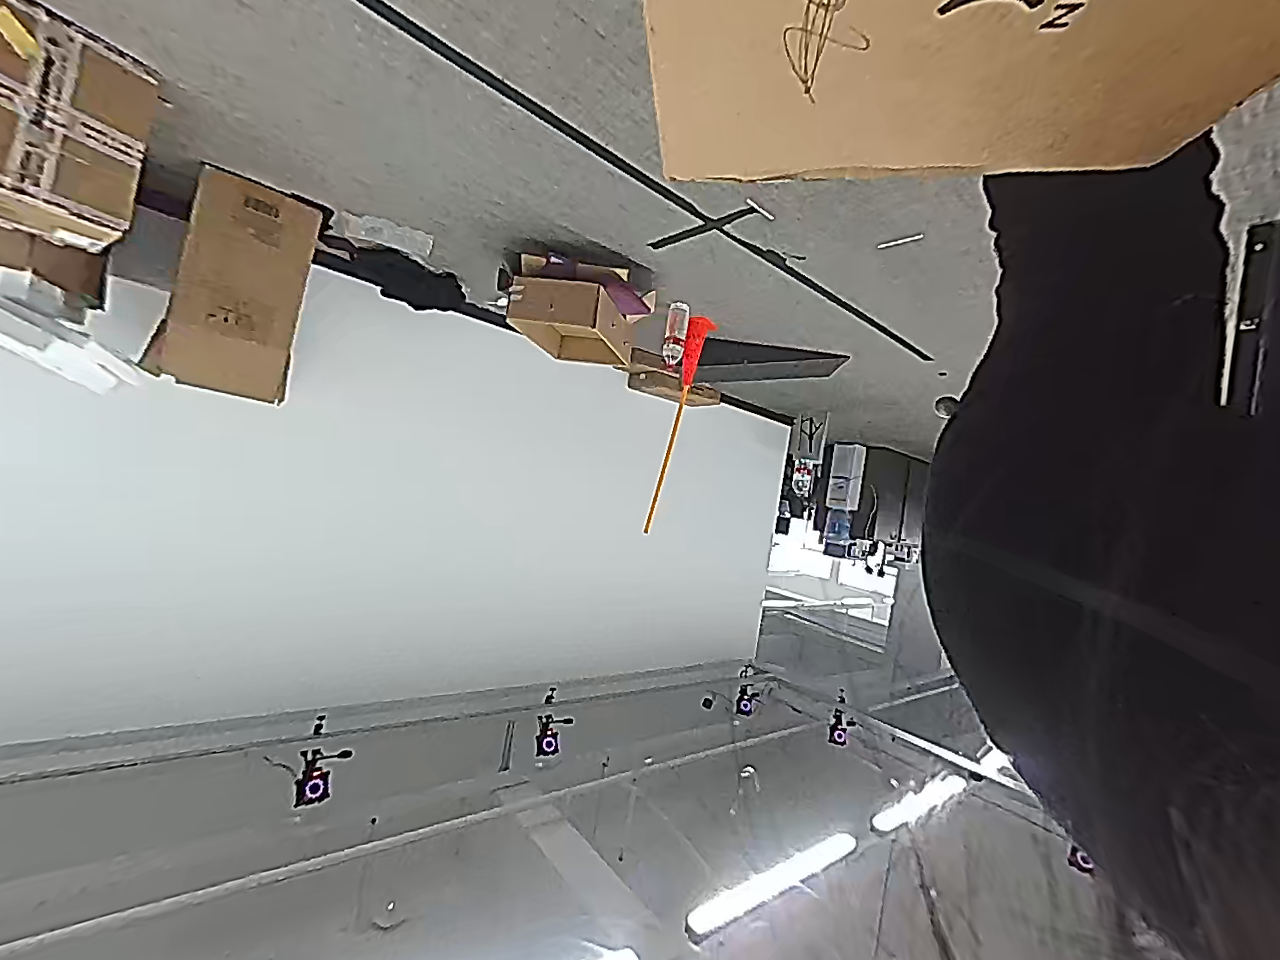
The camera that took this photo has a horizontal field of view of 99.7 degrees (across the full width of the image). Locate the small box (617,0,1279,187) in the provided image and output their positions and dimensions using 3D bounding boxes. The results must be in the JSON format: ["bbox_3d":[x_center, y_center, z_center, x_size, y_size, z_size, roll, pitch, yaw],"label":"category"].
[{"bbox_3d":[0.082,-0.189,0.113,0.179,0.176,0.168,3,180,7],"label":"small box"}]
